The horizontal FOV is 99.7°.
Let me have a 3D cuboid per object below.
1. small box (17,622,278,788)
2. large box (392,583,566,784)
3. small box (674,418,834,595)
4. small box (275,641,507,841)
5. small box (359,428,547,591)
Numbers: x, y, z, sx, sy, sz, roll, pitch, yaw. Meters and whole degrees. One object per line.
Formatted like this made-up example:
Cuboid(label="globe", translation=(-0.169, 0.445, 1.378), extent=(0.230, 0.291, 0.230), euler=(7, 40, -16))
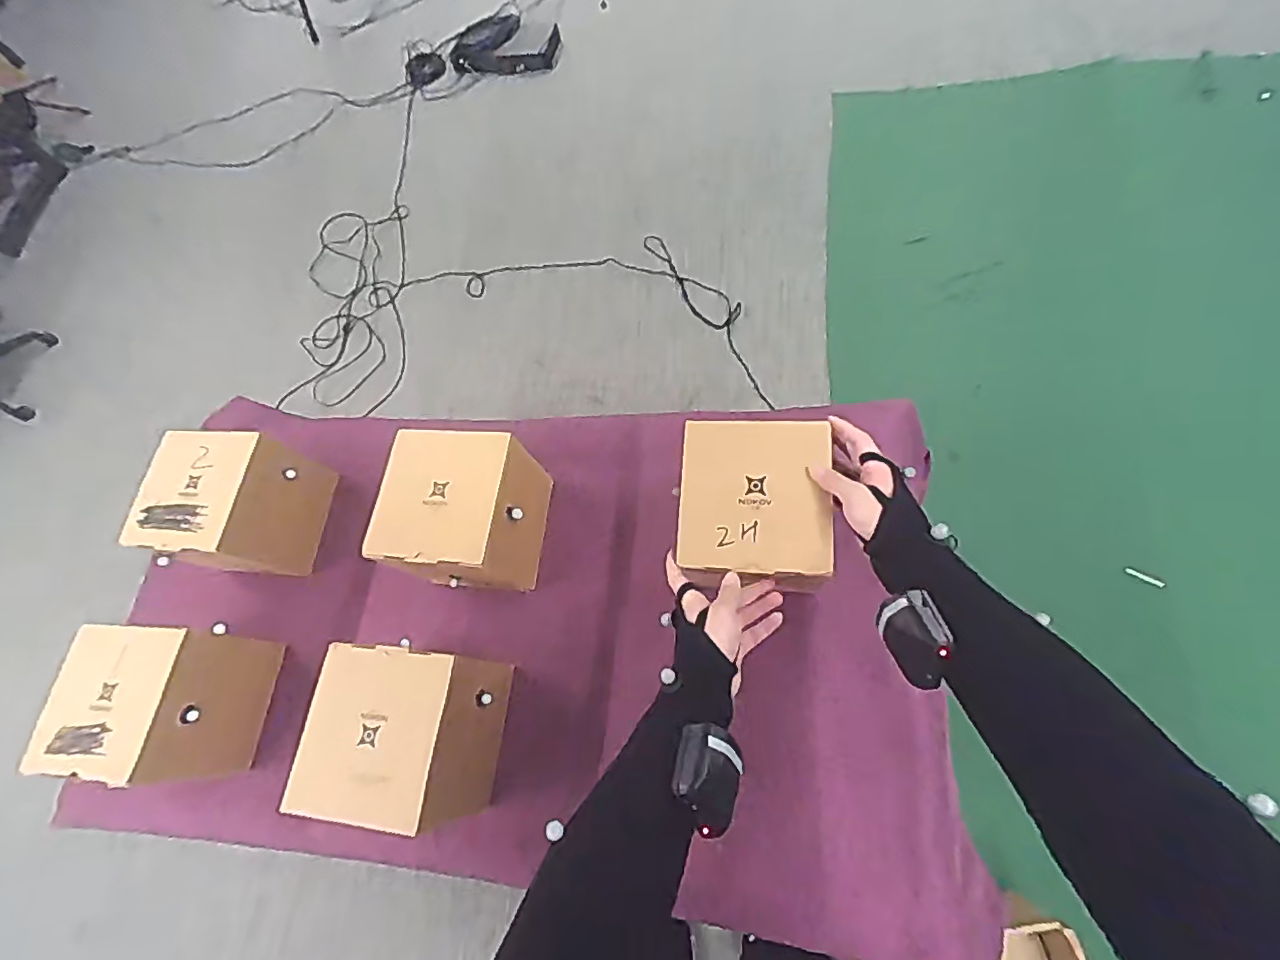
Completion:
Cuboid(label="small box", translation=(-0.633, 0.294, 0.723), extent=(0.168, 0.176, 0.179), euler=(0, 67, 11))
Cuboid(label="large box", translation=(-0.395, 0.488, 1.324), extent=(0.320, 0.320, 0.408), euler=(1, 68, 11))
Cuboid(label="small box", translation=(0.139, 0.038, 0.660), extent=(0.168, 0.176, 0.179), euler=(2, 73, 13))
Cuboid(label="small box", translation=(-0.278, 0.300, 0.649), extent=(0.168, 0.176, 0.179), euler=(2, 69, 13))
Cuboid(label="small box", translation=(-0.239, 0.045, 0.743), extent=(0.168, 0.176, 0.179), euler=(3, 71, 12))
